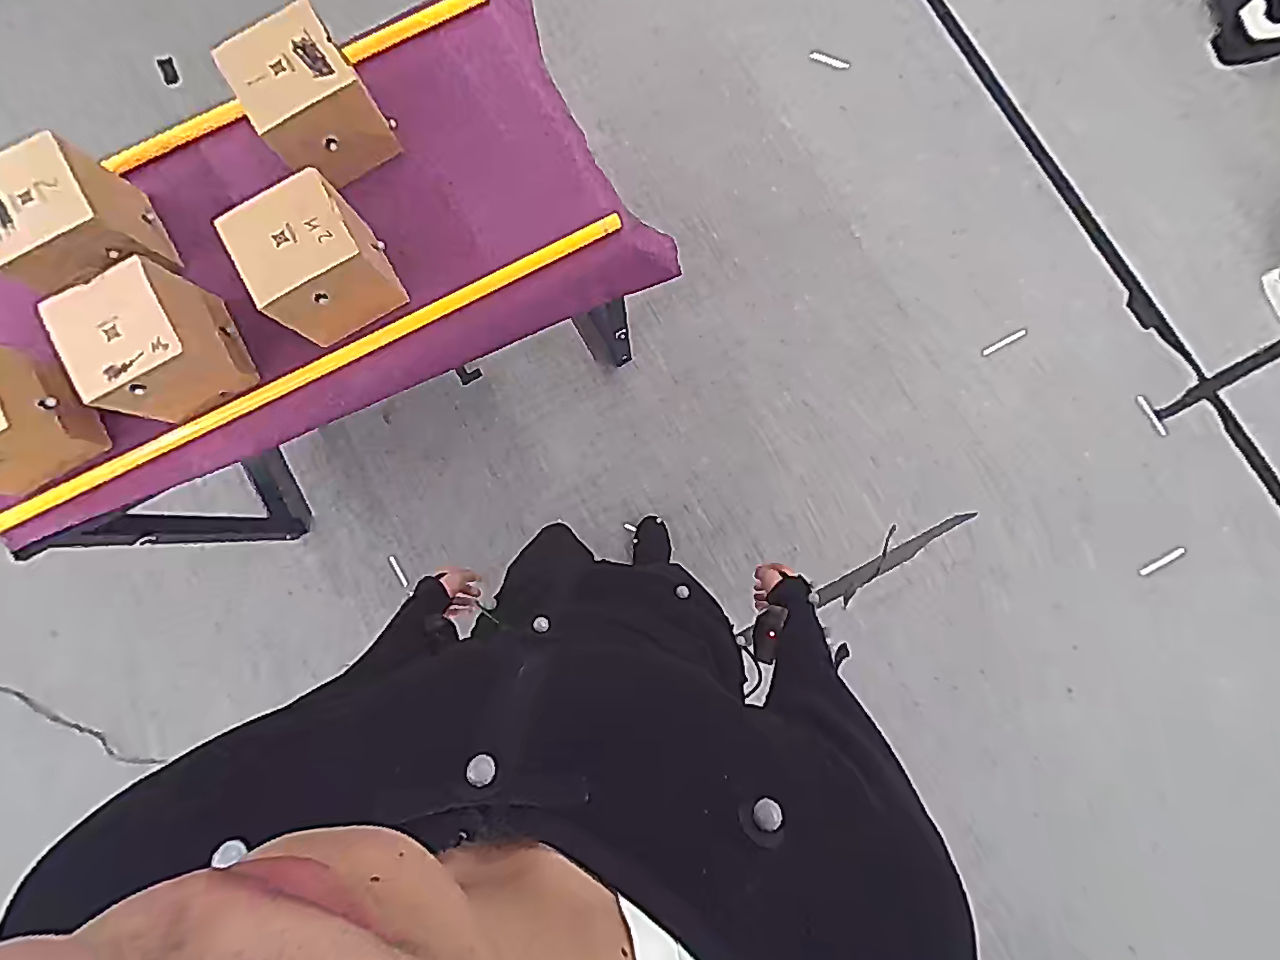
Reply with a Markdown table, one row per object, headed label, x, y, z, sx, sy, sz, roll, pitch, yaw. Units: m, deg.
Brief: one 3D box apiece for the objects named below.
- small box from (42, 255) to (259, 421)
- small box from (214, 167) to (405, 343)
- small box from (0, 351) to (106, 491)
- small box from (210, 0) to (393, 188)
| label | x | y | z | sx | sy | sz | roll | pitch | yaw |
| --- | --- | --- | --- | --- | --- | --- | --- | --- | --- |
| small box | -0.779 | -0.218 | 0.878 | 0.168 | 0.176 | 0.179 | -29 | 85 | -1 |
| small box | -0.526 | -0.354 | 0.885 | 0.179 | 0.176 | 0.168 | -30 | 84 | -2 |
| small box | -1.030 | -0.096 | 0.872 | 0.179 | 0.176 | 0.168 | -30 | 85 | -3 |
| small box | -0.549 | -0.634 | 0.911 | 0.179 | 0.176 | 0.168 | -31 | 86 | -1 |
